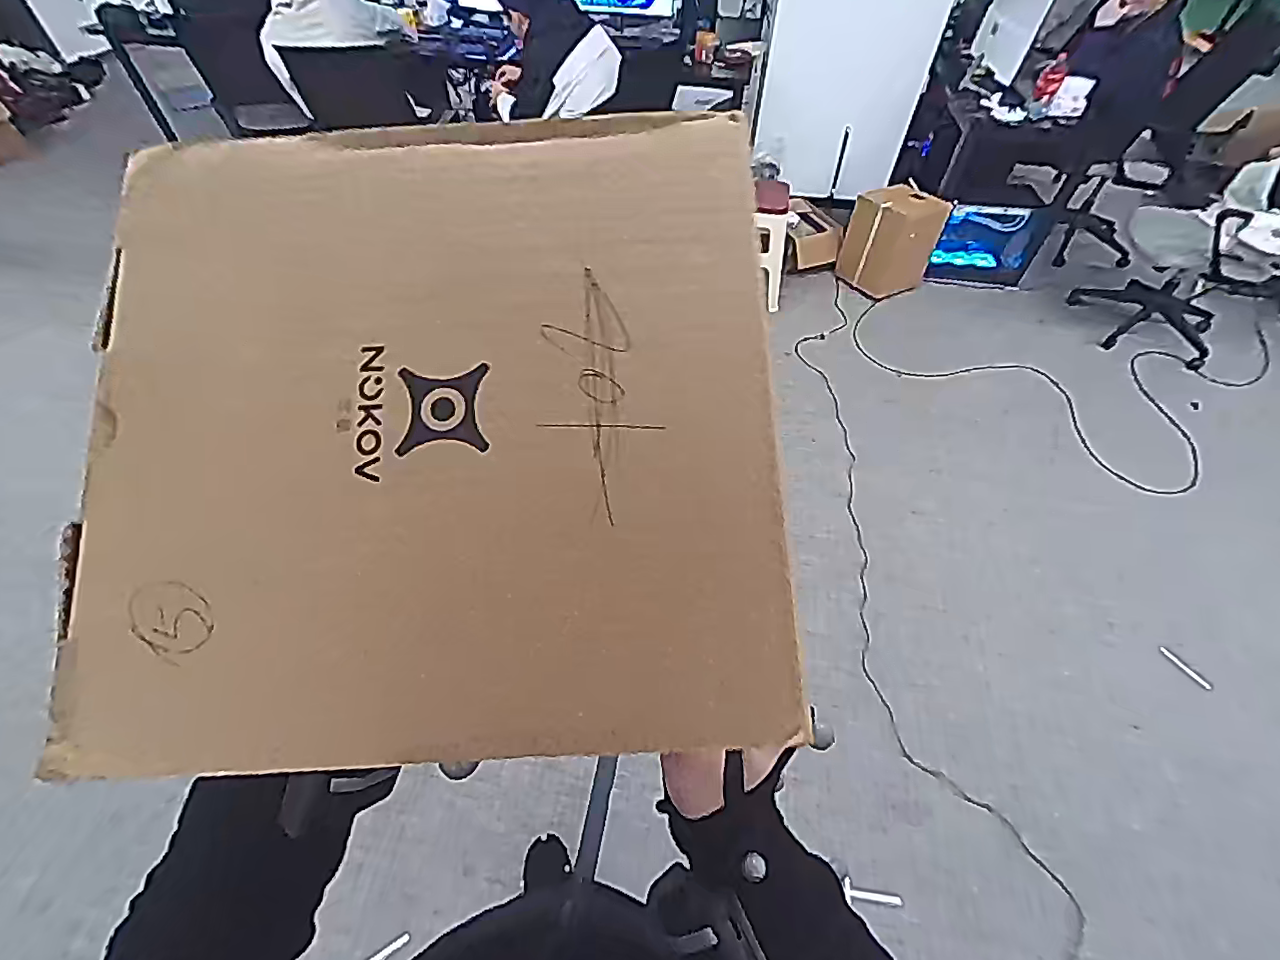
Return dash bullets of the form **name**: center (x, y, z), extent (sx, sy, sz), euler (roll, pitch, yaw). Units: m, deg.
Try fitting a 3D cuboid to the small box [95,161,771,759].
- **small box**: center (-0.056, 0.003, 0.231), extent (0.179, 0.176, 0.168), euler (-4, 79, 0)
